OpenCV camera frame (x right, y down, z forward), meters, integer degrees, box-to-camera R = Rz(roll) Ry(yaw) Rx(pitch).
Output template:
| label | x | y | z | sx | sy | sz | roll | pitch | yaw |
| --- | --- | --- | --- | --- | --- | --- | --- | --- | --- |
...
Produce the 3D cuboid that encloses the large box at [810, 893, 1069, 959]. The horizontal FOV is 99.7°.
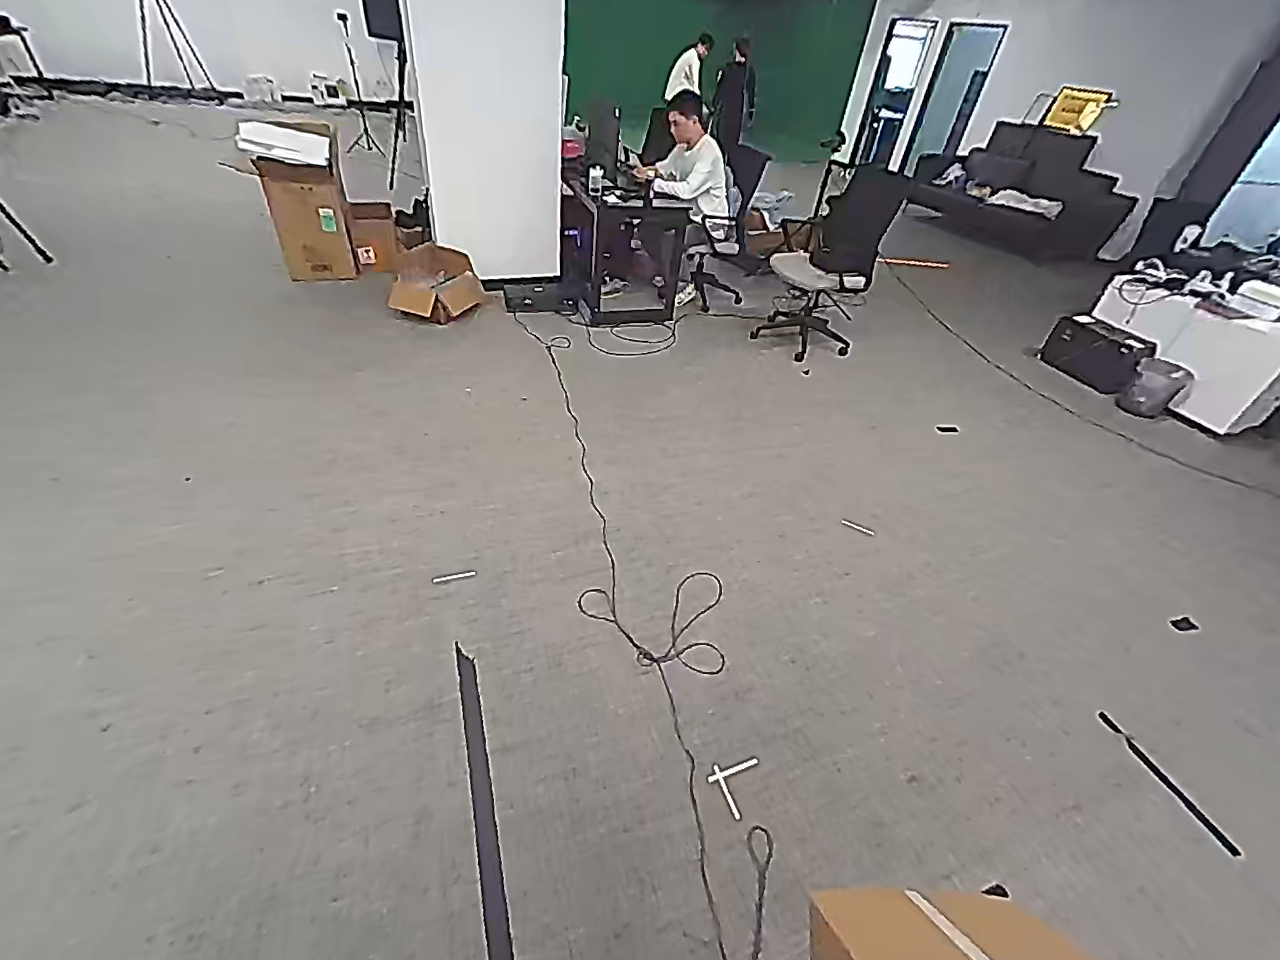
| label | x | y | z | sx | sy | sz | roll | pitch | yaw |
| --- | --- | --- | --- | --- | --- | --- | --- | --- | --- |
| large box | 0.406 | 0.744 | 0.601 | 0.320 | 0.408 | 0.320 | 4 | 76 | -2 |
